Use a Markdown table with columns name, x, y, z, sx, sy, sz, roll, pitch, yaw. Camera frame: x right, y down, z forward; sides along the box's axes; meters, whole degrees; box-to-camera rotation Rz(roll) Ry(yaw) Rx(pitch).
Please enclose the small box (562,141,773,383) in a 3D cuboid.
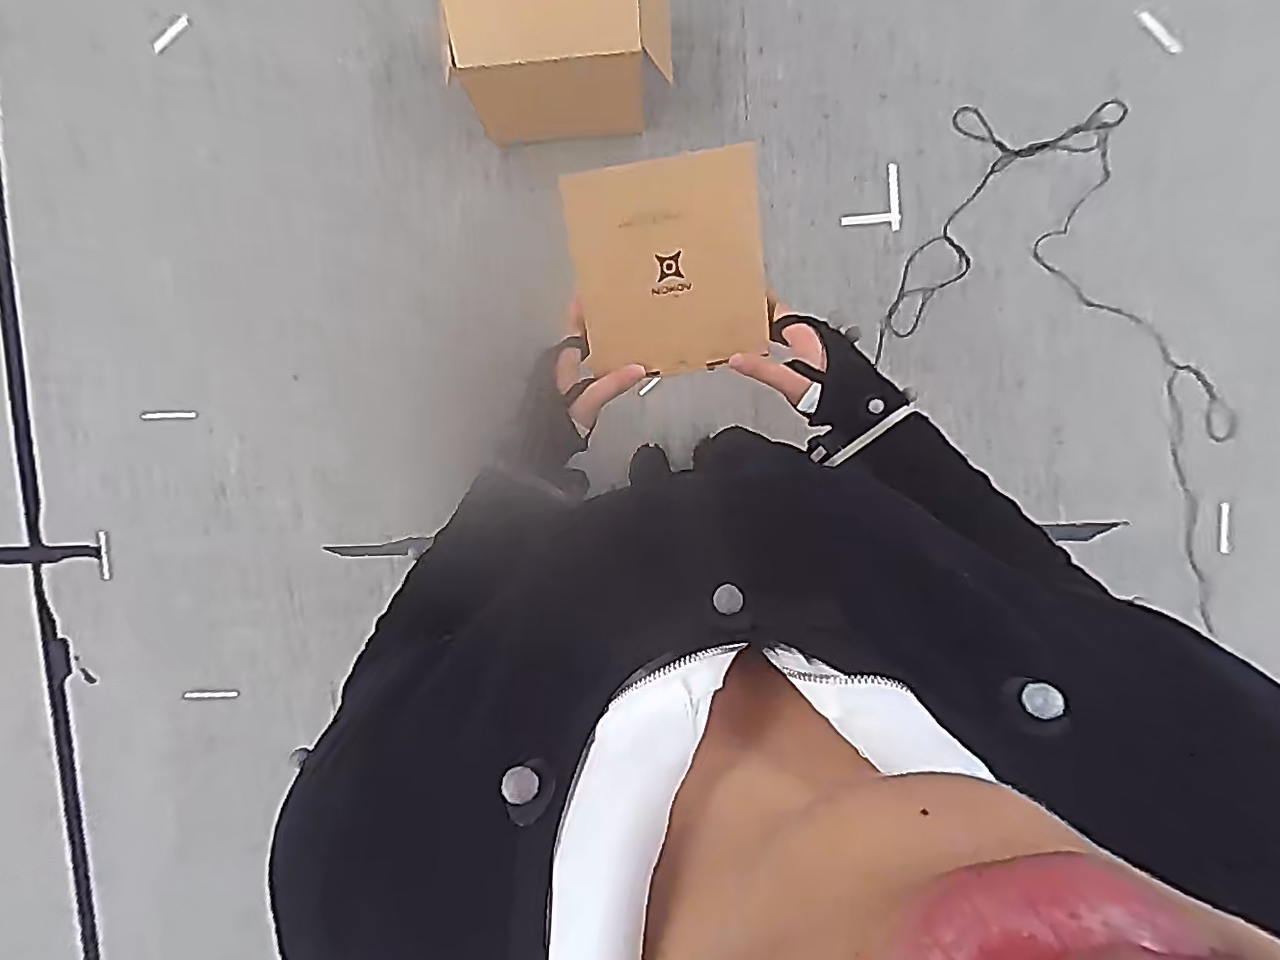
| name | x | y | z | sx | sy | sz | roll | pitch | yaw |
| --- | --- | --- | --- | --- | --- | --- | --- | --- | --- |
| small box | 0.026 | -0.208 | 0.541 | 0.168 | 0.176 | 0.179 | -10 | 108 | 1 |
